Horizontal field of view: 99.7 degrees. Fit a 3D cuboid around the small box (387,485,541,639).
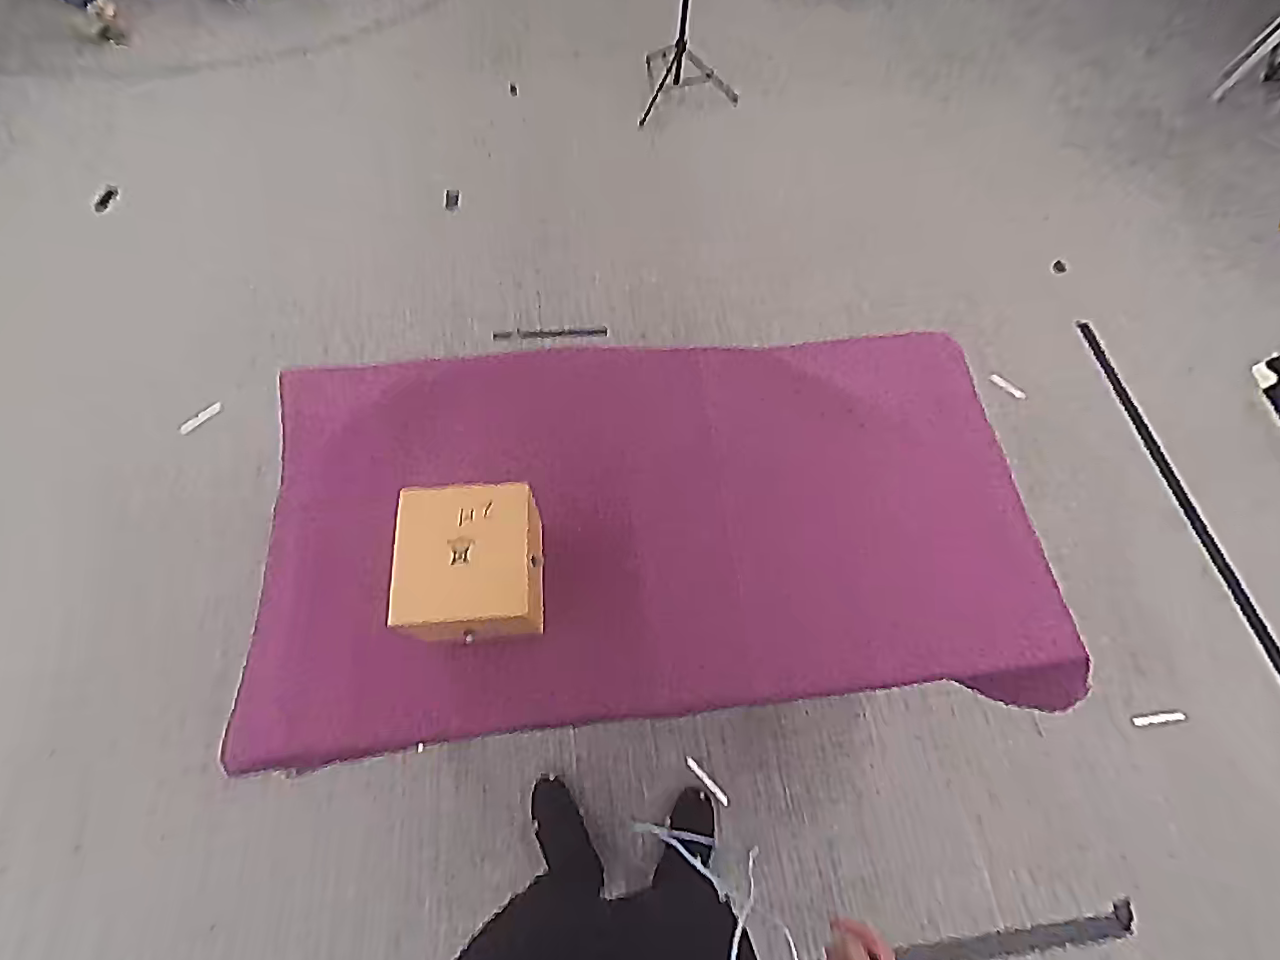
[{"bbox_3d":[-0.227,0.121,0.745,0.168,0.176,0.179,-3,66,-5],"label":"small box"}]
